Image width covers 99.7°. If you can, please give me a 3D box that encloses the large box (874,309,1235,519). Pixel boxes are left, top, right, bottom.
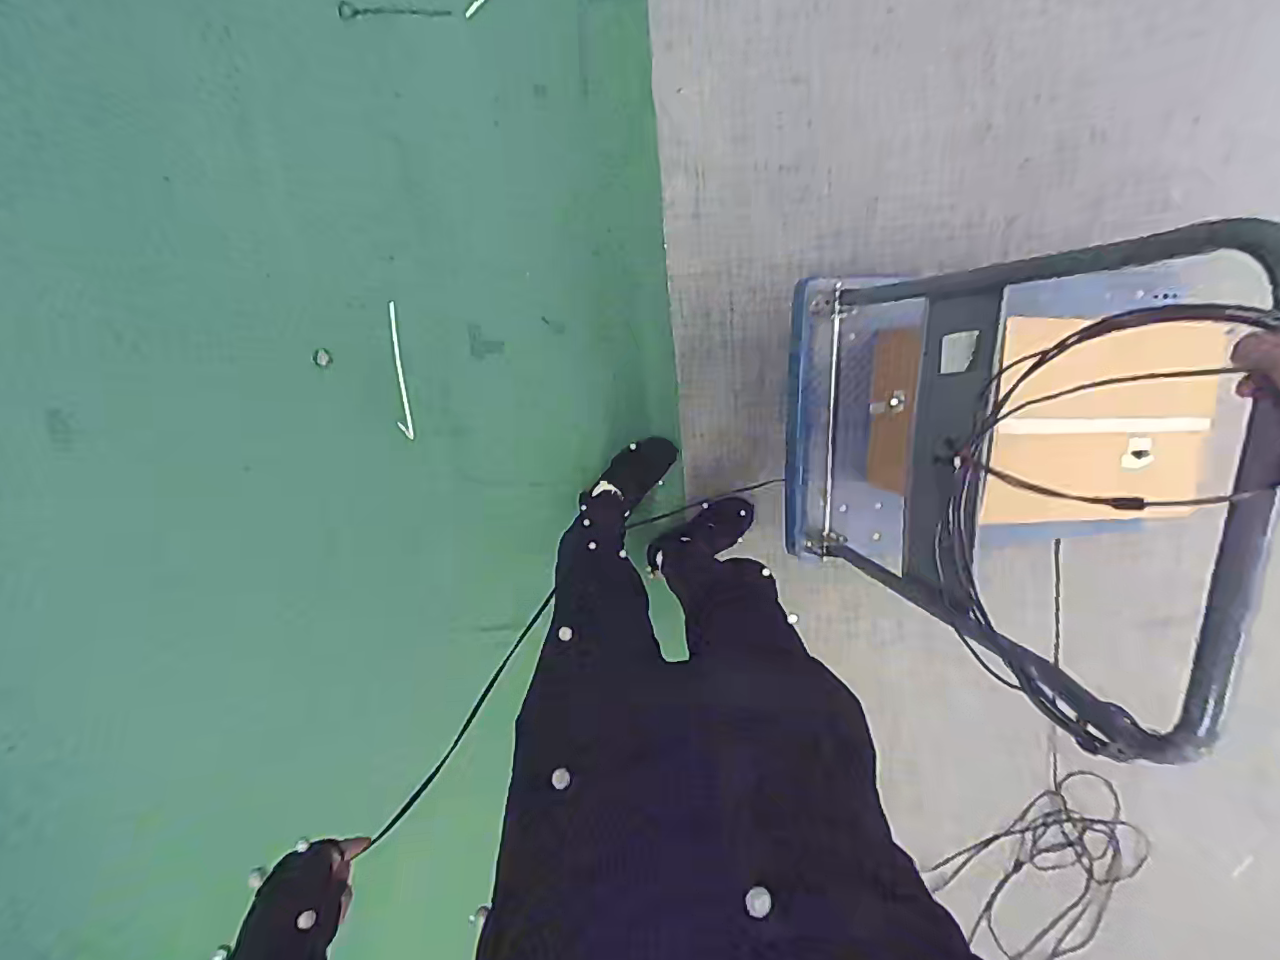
[{"bbox_3d":[0.695,-0.124,0.971,0.408,0.320,0.320,-1,102,-10],"label":"large box"}]
